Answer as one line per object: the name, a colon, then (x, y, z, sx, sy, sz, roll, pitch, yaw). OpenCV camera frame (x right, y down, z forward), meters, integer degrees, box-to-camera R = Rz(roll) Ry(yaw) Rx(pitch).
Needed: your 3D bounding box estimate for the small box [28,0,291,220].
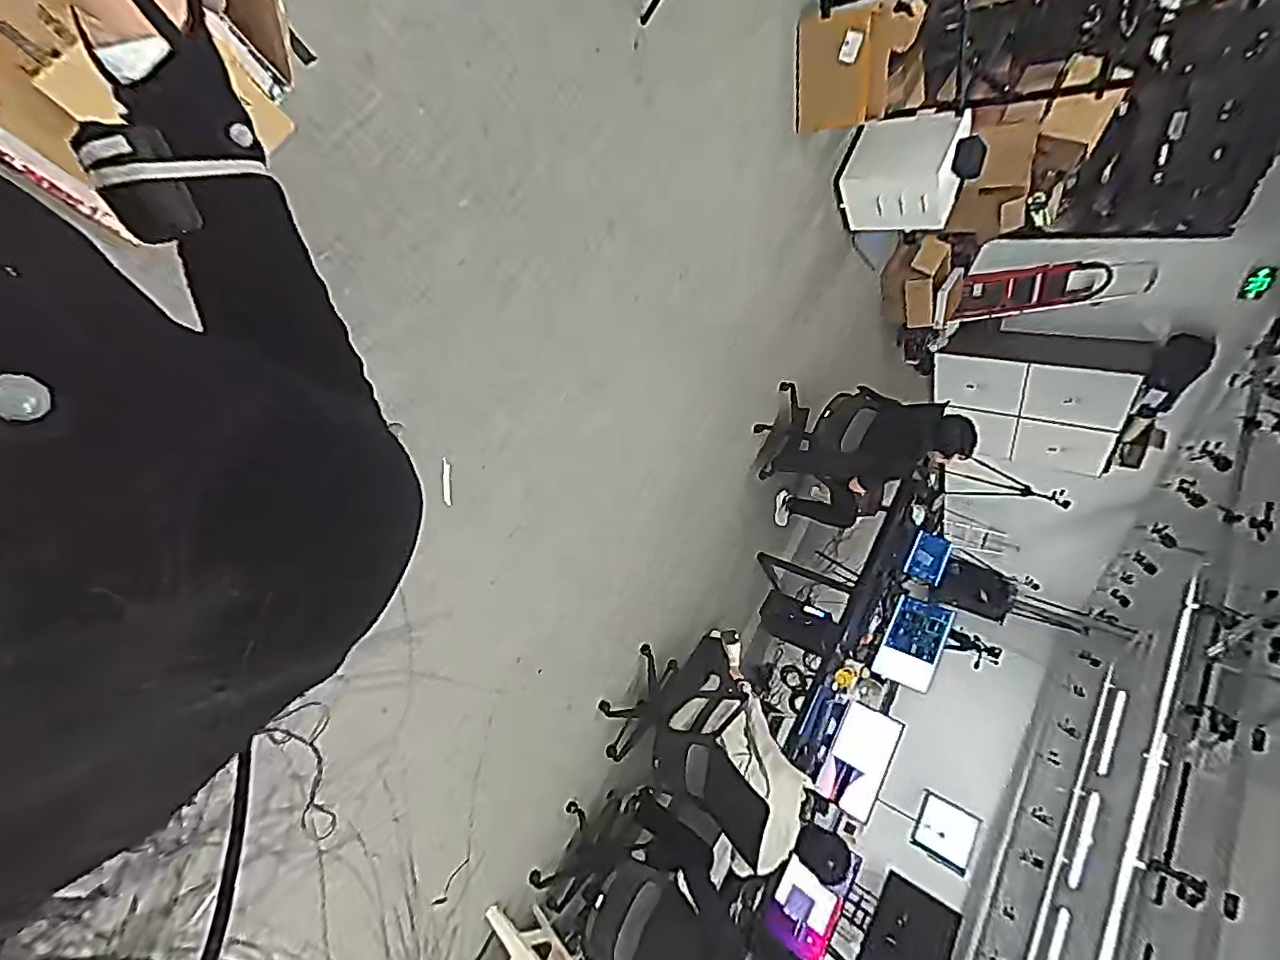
small box: (-0.585, -0.448, 0.663, 0.179, 0.176, 0.168, -59, 144, -13)
